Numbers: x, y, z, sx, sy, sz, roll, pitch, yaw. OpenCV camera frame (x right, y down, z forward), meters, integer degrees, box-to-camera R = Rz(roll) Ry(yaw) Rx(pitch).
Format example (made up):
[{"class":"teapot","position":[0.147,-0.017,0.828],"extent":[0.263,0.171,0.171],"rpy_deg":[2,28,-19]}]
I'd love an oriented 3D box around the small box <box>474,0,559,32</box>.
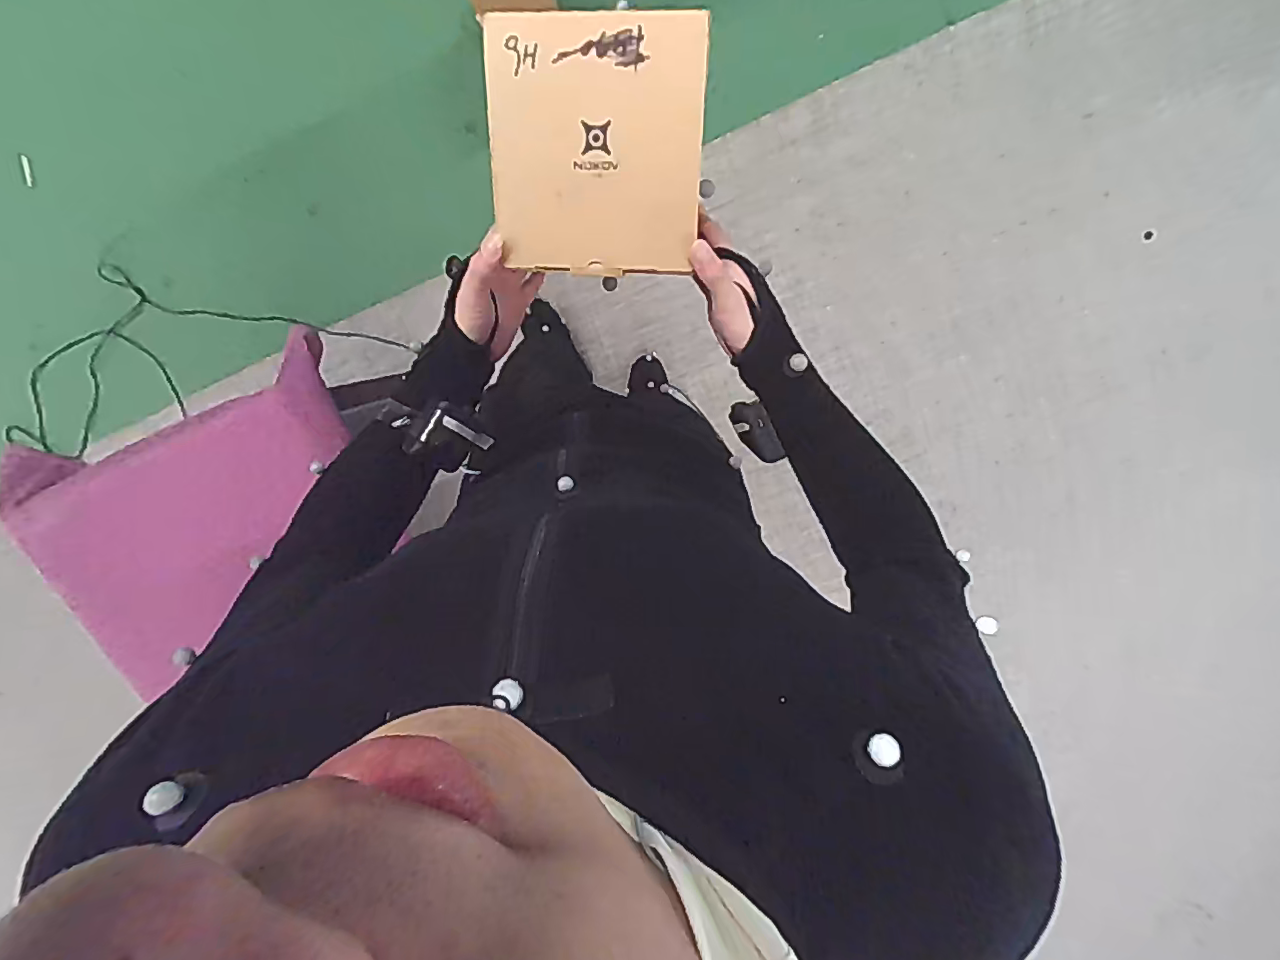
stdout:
[{"class":"small box","position":[-0.293,-1.125,1.256],"extent":[0.179,0.176,0.168],"rpy_deg":[-21,103,9]}]

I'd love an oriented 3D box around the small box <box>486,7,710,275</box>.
[{"class":"small box","position":[-0.026,-0.284,0.489],"extent":[0.168,0.176,0.179],"rpy_deg":[3,112,4]}]

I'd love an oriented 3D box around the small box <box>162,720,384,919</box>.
[{"class":"small box","position":[-0.516,0.479,0.790],"extent":[0.168,0.176,0.179],"rpy_deg":[-18,103,8]}]
